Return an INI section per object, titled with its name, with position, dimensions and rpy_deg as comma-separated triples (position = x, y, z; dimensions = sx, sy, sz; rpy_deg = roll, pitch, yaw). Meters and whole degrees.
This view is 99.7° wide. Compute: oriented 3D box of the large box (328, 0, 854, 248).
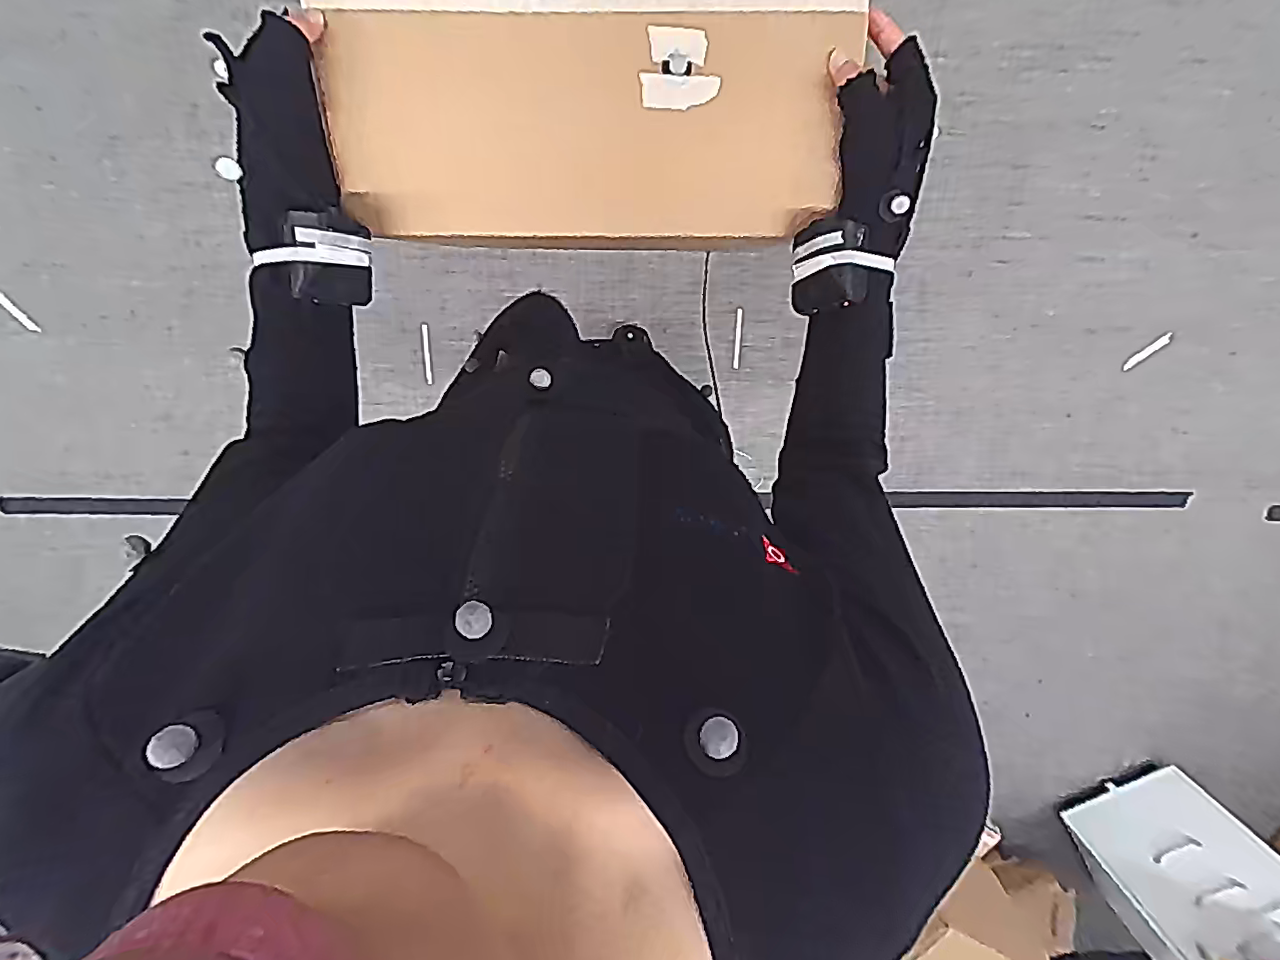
[large box]
position = -0.041, -0.412, 0.545
dimensions = 0.408, 0.320, 0.320
rpy_deg = -1, 112, -2
